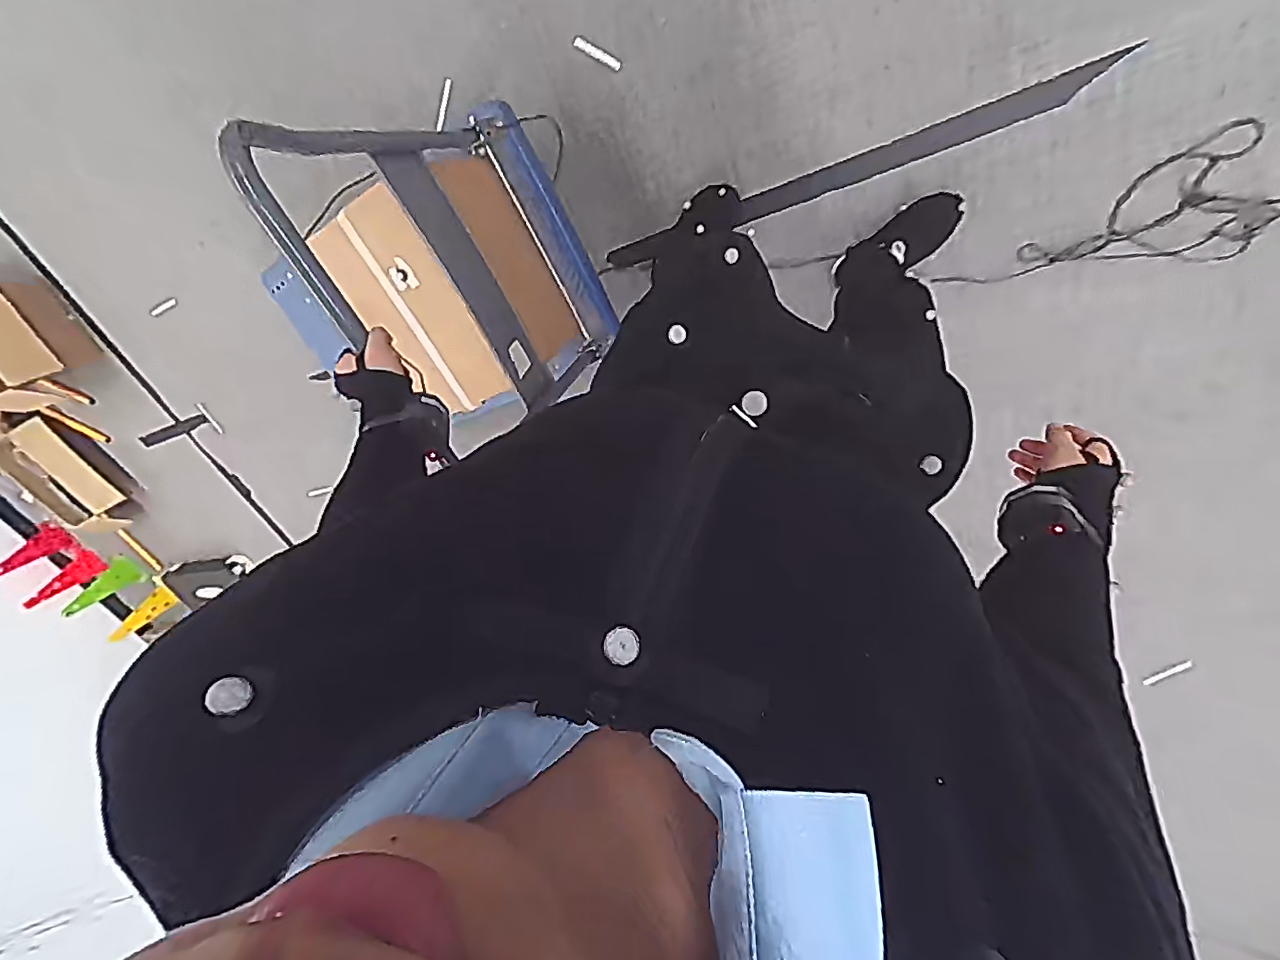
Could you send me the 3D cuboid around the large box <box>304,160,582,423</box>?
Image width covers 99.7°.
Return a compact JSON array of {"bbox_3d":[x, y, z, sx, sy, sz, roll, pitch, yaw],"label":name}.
[{"bbox_3d":[-0.389,-0.399,1.163,0.320,0.320,0.408,-16,116,27],"label":"large box"}]
